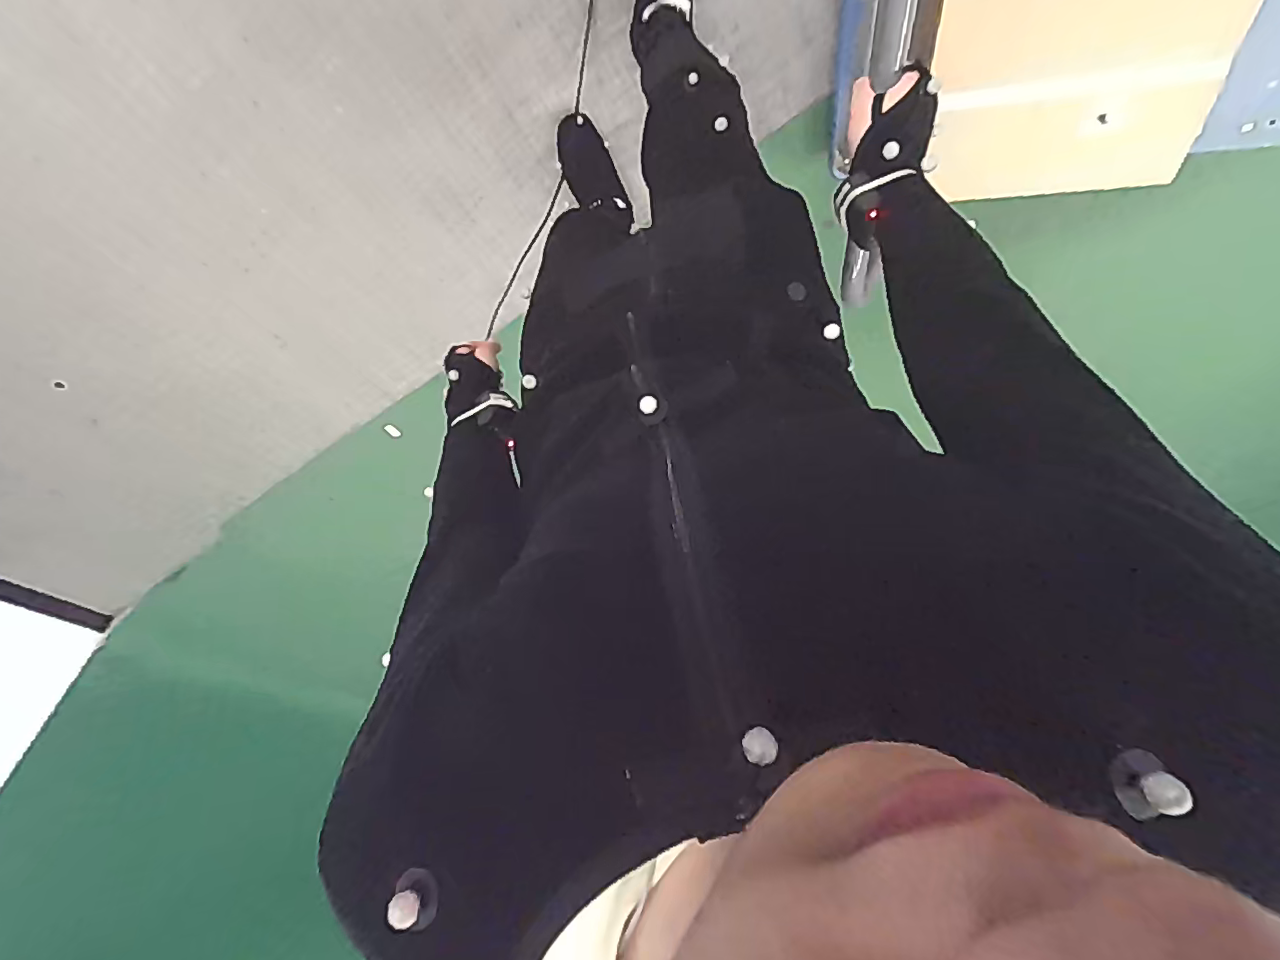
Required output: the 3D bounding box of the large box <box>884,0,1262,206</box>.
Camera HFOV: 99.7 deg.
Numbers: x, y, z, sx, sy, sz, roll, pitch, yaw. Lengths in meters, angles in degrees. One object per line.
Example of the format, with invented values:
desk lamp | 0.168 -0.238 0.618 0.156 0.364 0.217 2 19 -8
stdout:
large box | 0.670 -0.698 0.919 0.408 0.320 0.320 1 136 12
